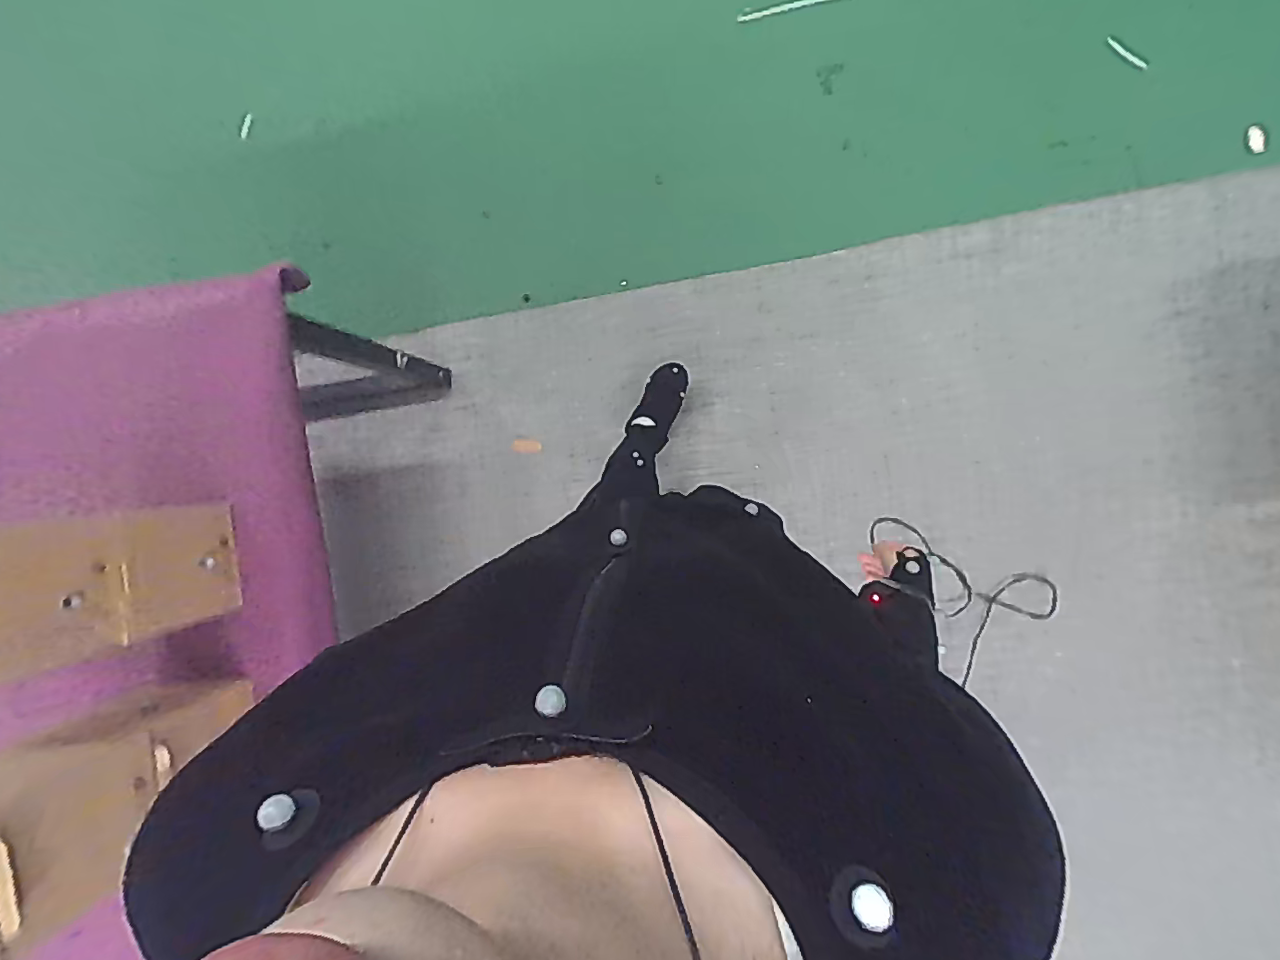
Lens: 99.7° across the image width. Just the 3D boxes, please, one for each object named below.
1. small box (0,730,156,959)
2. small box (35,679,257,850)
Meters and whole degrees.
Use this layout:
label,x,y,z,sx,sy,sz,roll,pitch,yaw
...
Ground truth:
label,x,y,z,sx,sy,sz,roll,pitch,yaw
small box,-0.707,0.407,0.621,0.179,0.176,0.168,-7,91,7
small box,-0.696,0.403,0.786,0.179,0.176,0.168,-7,90,6
